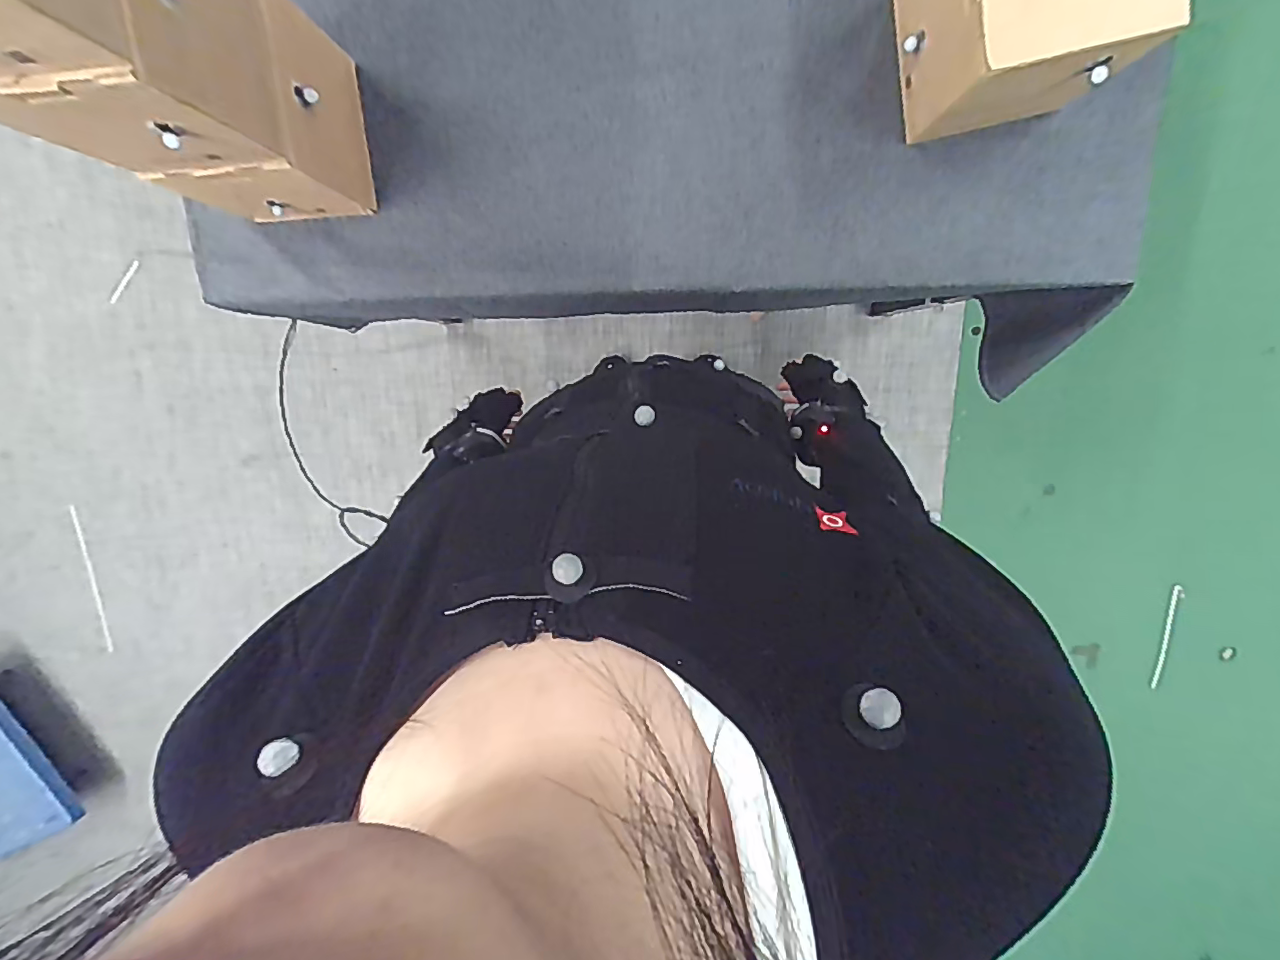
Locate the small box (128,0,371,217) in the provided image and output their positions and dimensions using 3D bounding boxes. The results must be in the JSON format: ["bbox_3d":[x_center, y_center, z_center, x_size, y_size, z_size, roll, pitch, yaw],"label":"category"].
[{"bbox_3d":[-0.428,-0.410,0.599,0.168,0.176,0.179,-3,103,3],"label":"small box"}]

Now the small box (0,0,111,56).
[{"bbox_3d":[-0.439,-0.350,0.277,0.168,0.176,0.179,-4,102,2],"label":"small box"}]

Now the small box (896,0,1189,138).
[{"bbox_3d":[0.383,-0.477,0.540,0.179,0.176,0.168,-10,102,6],"label":"small box"}]

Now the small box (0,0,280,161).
[{"bbox_3d":[-0.432,-0.379,0.439,0.168,0.176,0.179,-2,102,2],"label":"small box"}]
